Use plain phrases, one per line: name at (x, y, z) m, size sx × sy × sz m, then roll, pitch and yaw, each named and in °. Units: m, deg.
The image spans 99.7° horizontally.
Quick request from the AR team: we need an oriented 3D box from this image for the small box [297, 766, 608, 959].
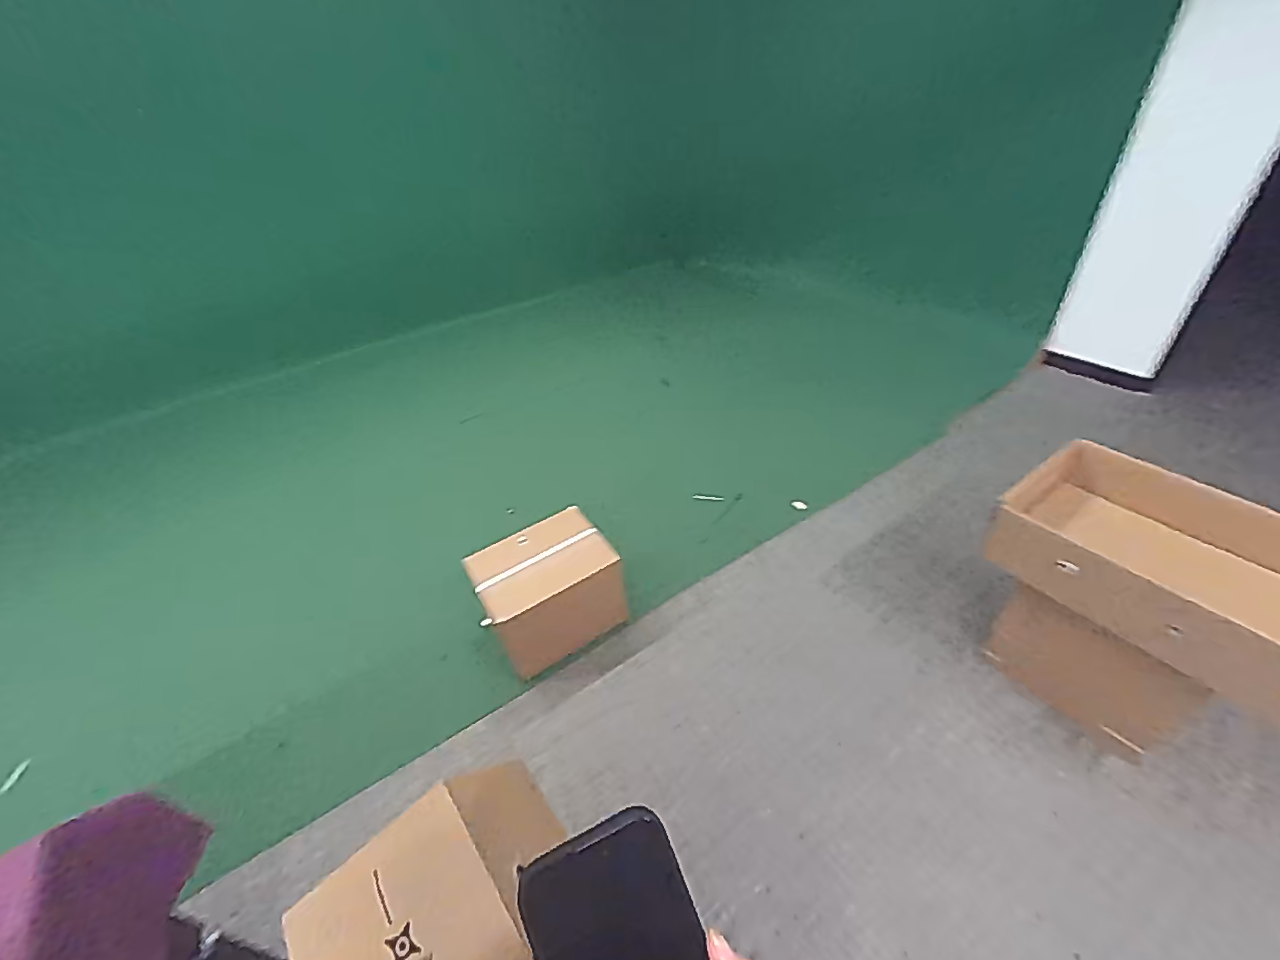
small box at (-0.153, 0.390, 0.487) m, size 0.168 × 0.176 × 0.179 m, roll -39°, pitch 65°, yaw -5°
